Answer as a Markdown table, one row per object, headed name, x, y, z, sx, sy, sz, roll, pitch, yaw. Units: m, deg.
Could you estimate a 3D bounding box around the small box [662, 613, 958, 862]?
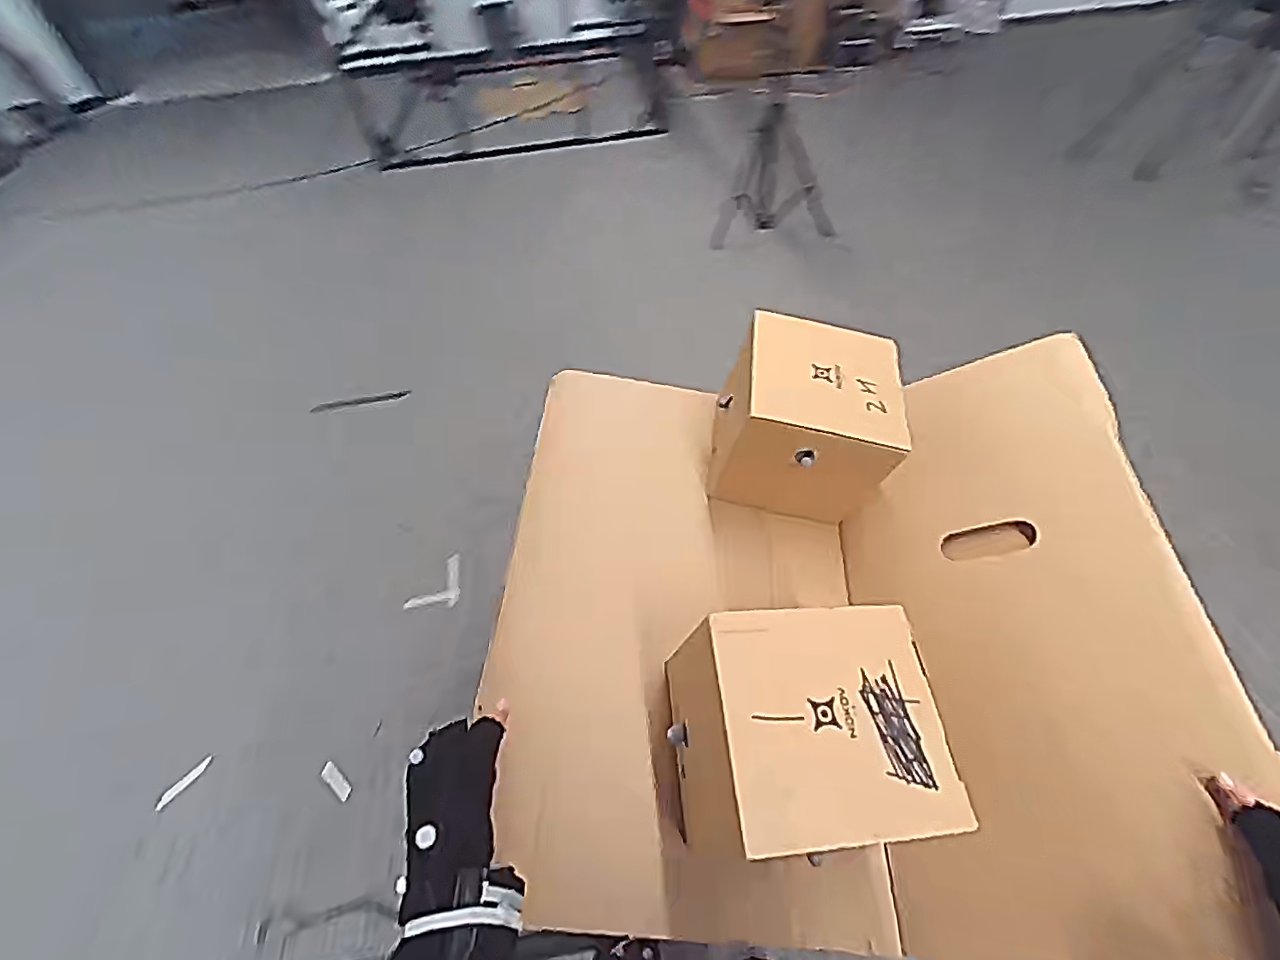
| name | x | y | z | sx | sy | sz | roll | pitch | yaw |
| --- | --- | --- | --- | --- | --- | --- | --- | --- | --- |
| small box | 0.127 | 0.226 | 0.482 | 0.179 | 0.176 | 0.168 | -1 | 58 | -11 |
